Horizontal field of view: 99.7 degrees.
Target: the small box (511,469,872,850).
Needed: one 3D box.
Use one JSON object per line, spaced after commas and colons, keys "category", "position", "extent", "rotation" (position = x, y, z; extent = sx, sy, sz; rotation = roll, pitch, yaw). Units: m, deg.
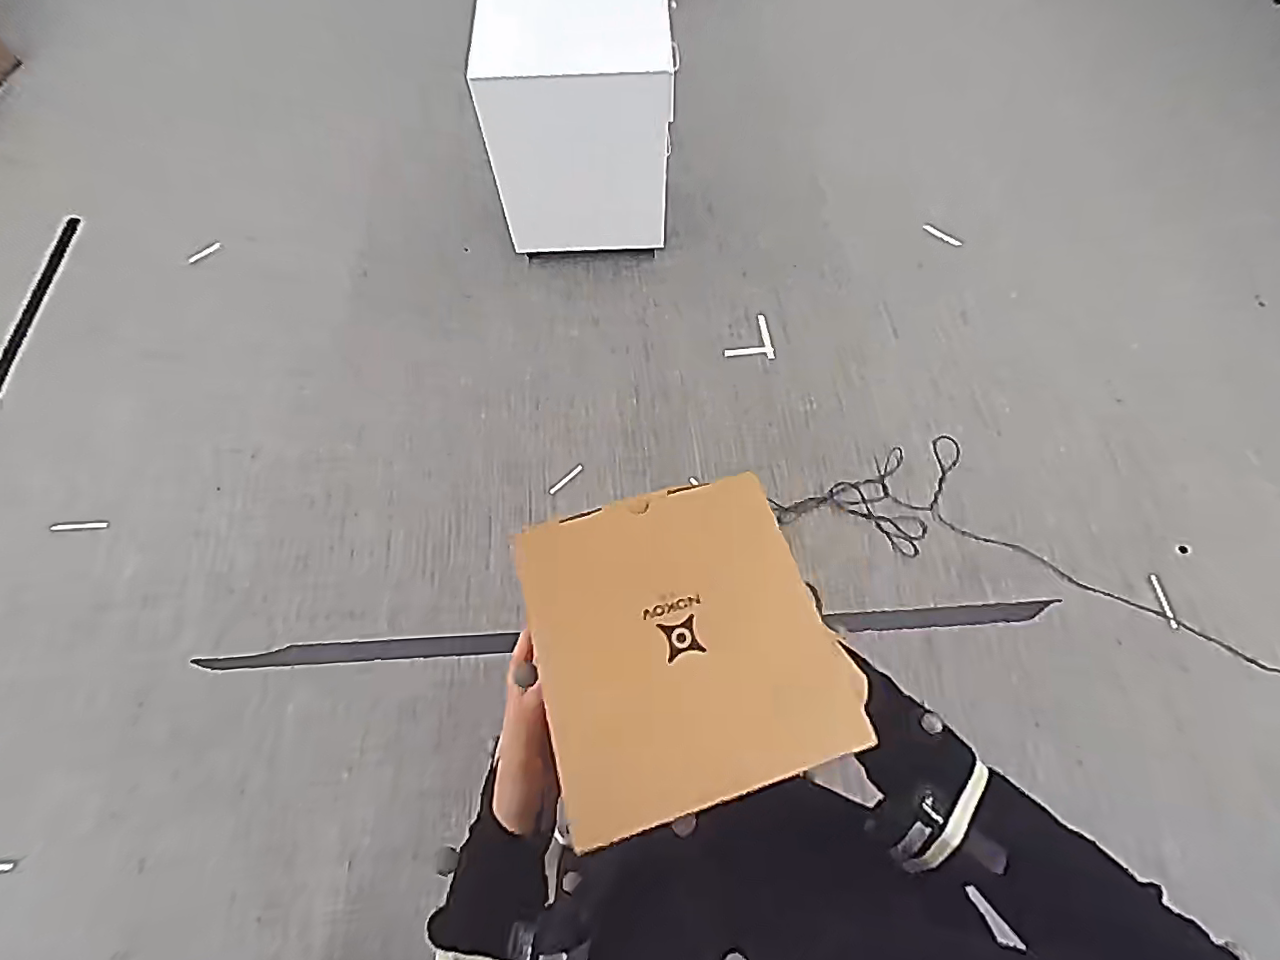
{"category": "small box", "position": [0.020, 0.123, 0.377], "extent": [0.168, 0.176, 0.179], "rotation": [-15, 62, -10]}
